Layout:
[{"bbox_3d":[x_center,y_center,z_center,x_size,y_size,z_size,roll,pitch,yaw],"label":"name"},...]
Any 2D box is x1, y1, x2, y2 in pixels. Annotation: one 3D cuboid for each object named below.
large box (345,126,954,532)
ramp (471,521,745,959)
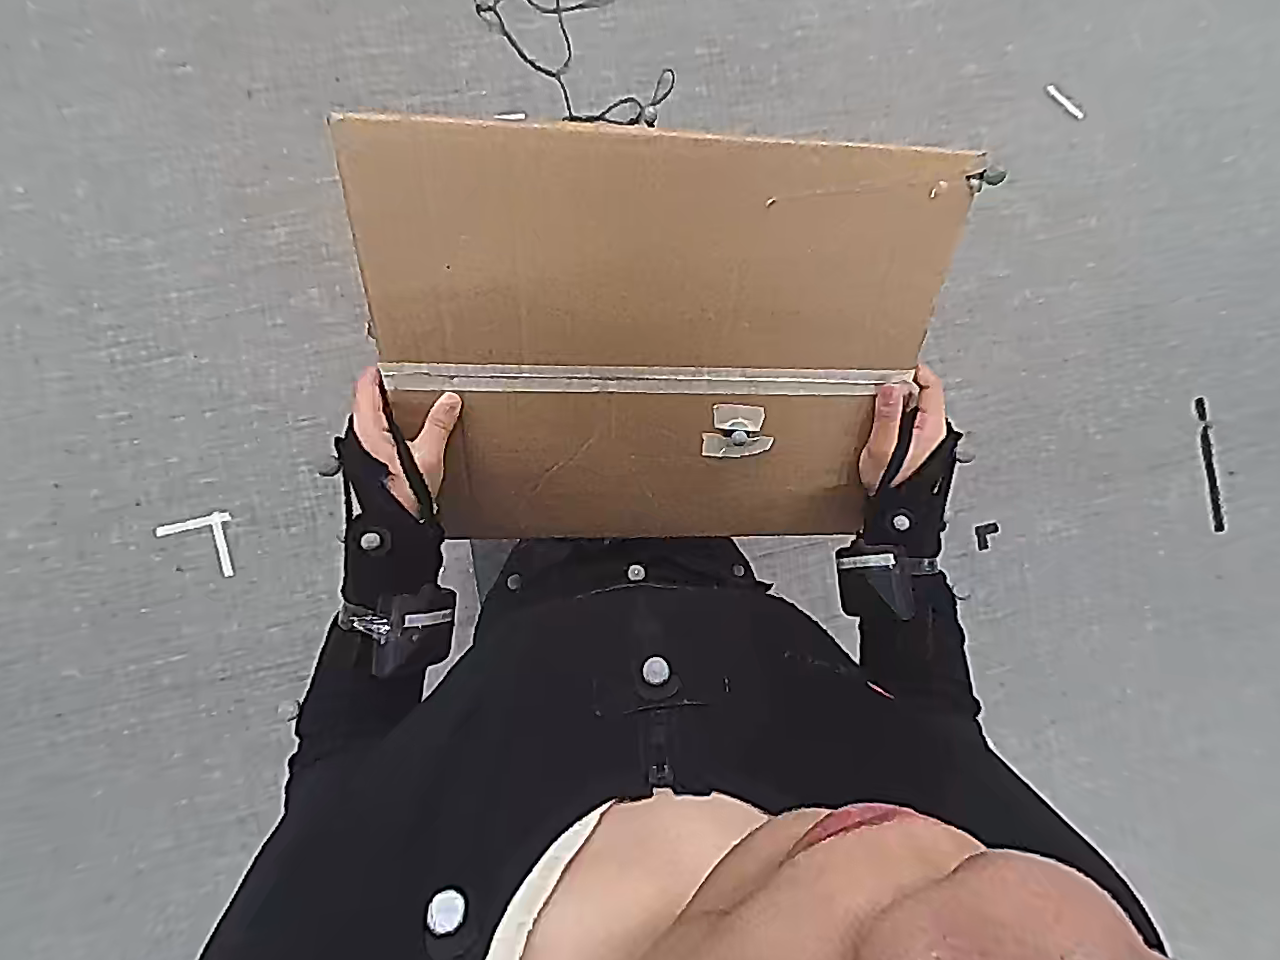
[{"bbox_3d":[-0.004,-0.169,0.549,0.408,0.320,0.320,-1,125,-6],"label":"large box"},{"bbox_3d":[-0.098,0.578,1.332,0.509,0.206,0.991,-13,90,-5],"label":"ramp"}]
